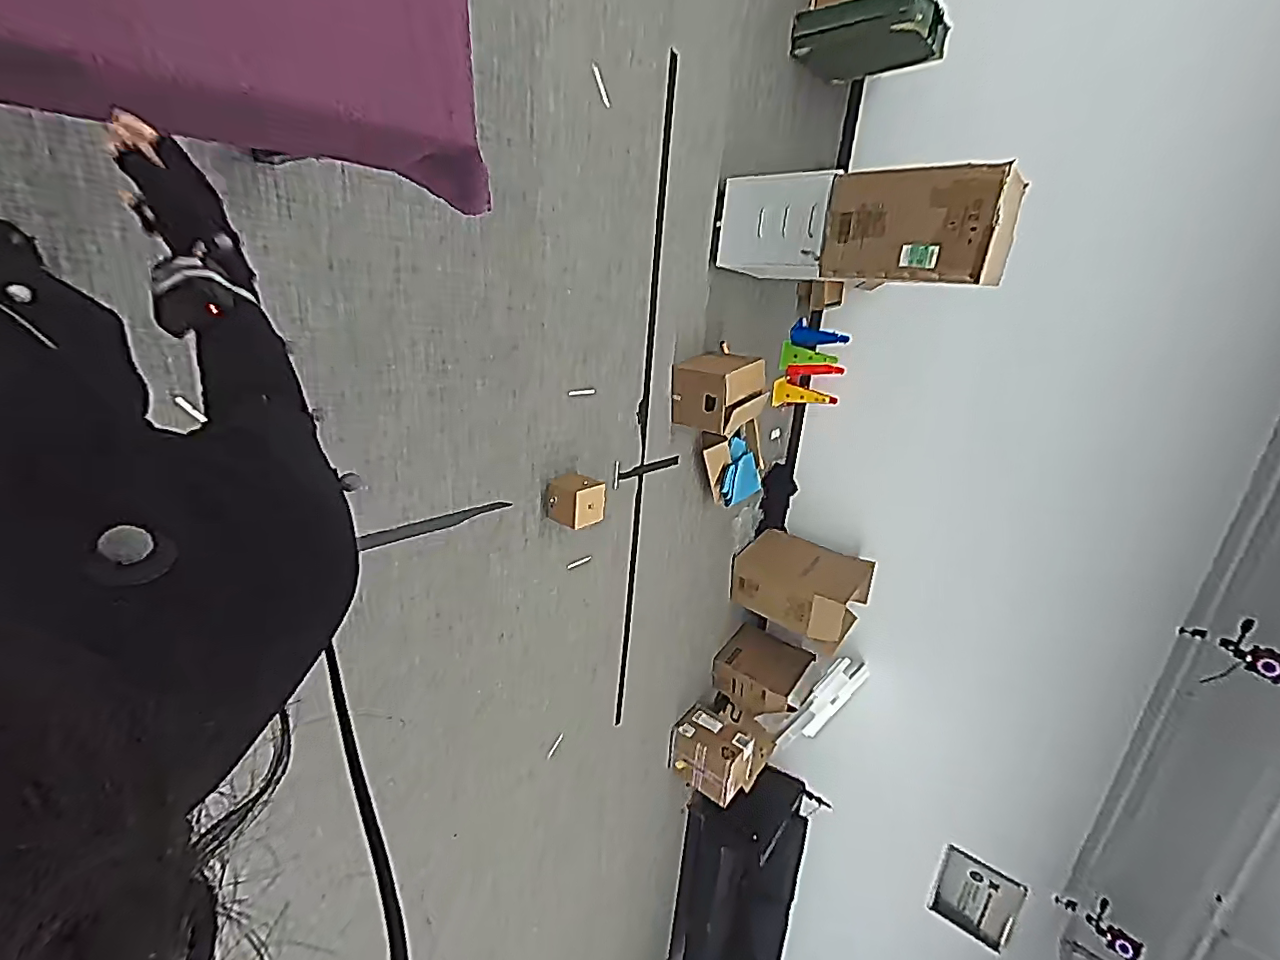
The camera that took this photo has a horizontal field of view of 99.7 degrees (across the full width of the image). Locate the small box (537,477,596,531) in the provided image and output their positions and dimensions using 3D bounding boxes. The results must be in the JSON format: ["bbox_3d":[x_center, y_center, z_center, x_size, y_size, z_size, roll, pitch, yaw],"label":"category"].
[{"bbox_3d":[-0.307,0.094,2.249,0.179,0.176,0.168,-16,117,-50],"label":"small box"}]
